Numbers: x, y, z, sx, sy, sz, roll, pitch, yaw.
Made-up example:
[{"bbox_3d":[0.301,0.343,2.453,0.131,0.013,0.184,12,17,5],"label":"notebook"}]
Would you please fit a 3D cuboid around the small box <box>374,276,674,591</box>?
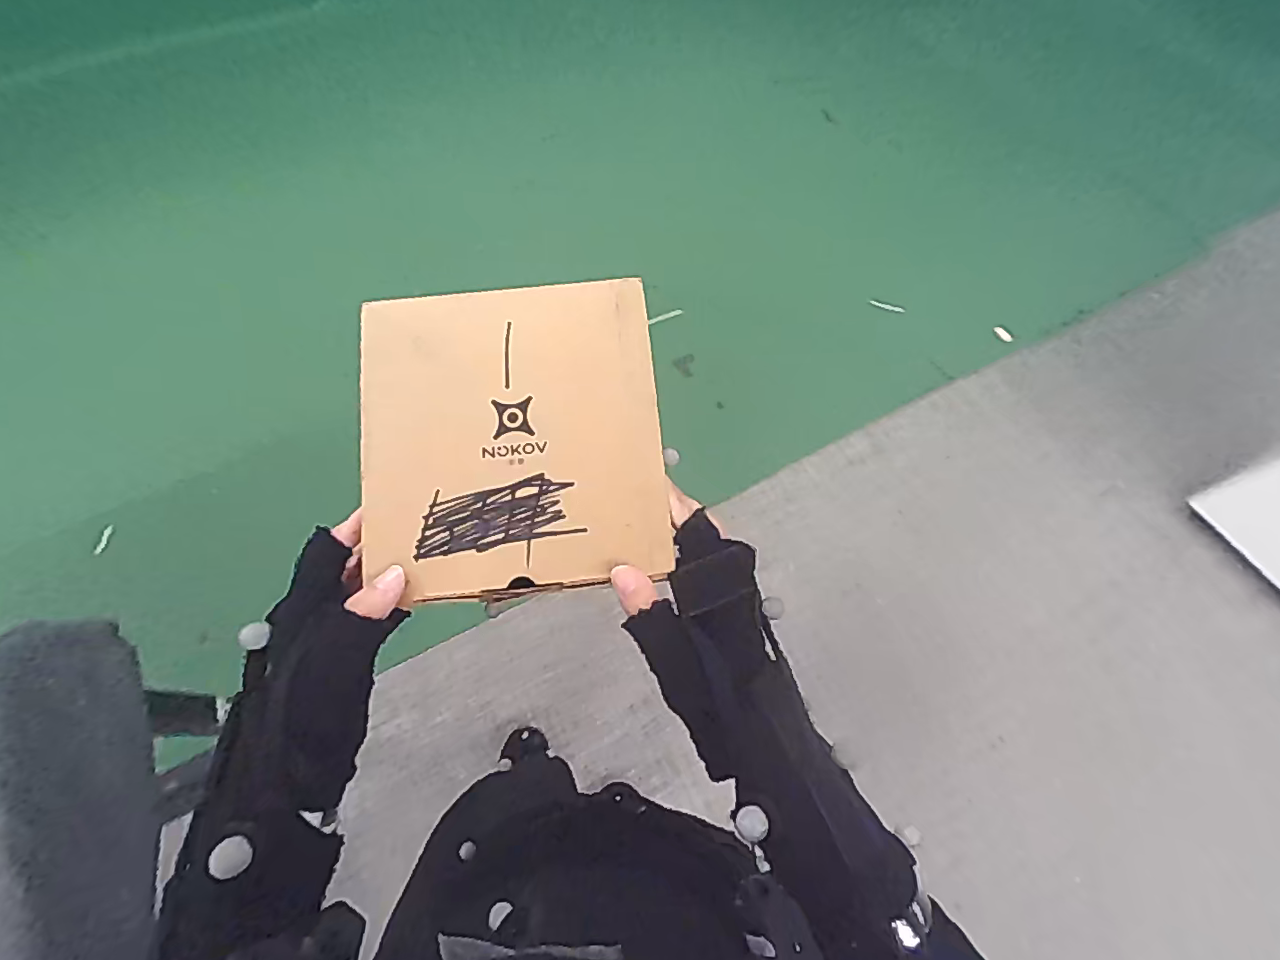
[{"bbox_3d":[-0.066,-0.017,0.383,0.168,0.176,0.179,-4,78,-1],"label":"small box"}]
